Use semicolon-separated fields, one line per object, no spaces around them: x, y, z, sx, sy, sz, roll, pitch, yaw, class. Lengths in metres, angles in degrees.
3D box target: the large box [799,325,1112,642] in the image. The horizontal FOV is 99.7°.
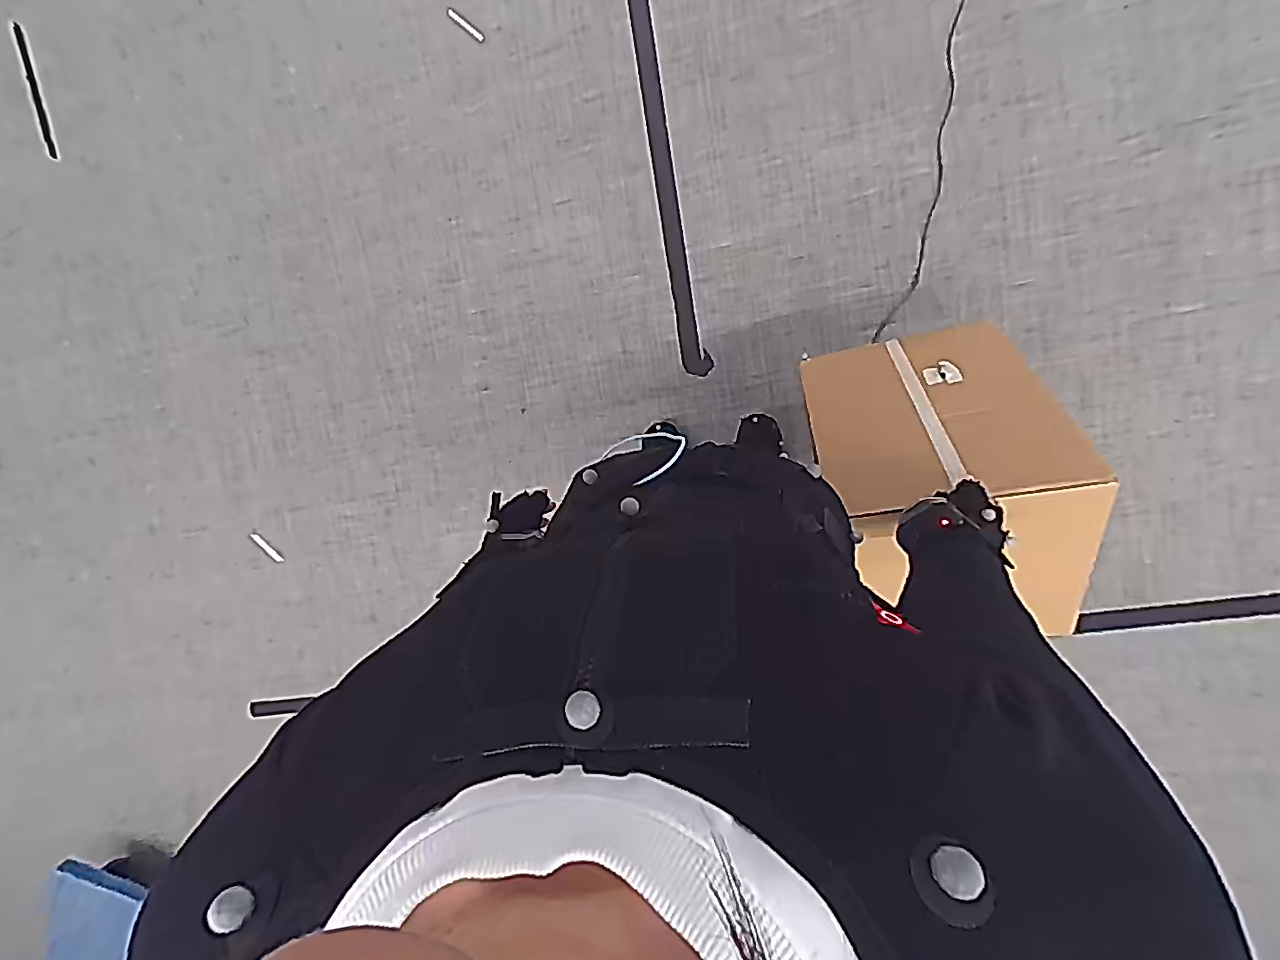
0.467;0.003;0.897;0.320;0.408;0.320;-10;129;16;large box
